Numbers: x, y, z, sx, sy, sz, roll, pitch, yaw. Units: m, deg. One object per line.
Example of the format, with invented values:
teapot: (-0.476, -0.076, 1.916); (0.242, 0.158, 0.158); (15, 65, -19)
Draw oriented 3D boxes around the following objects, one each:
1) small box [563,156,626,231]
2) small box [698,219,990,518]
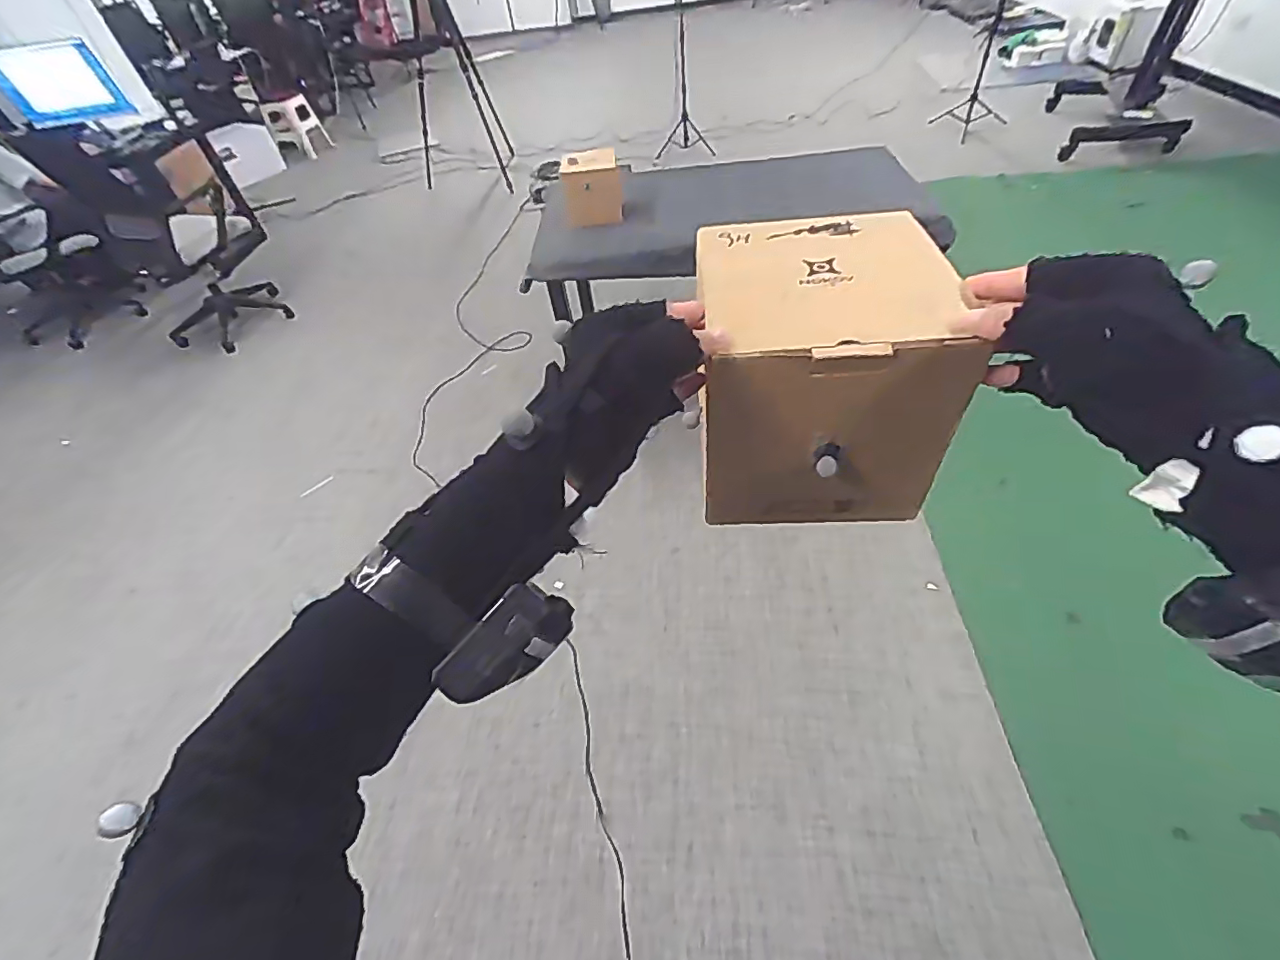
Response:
small box: (-0.143, -0.920, 1.742); (0.179, 0.176, 0.168); (-4, 48, 2)
small box: (0.134, -0.081, 0.432); (0.168, 0.176, 0.179); (-2, 48, 5)
